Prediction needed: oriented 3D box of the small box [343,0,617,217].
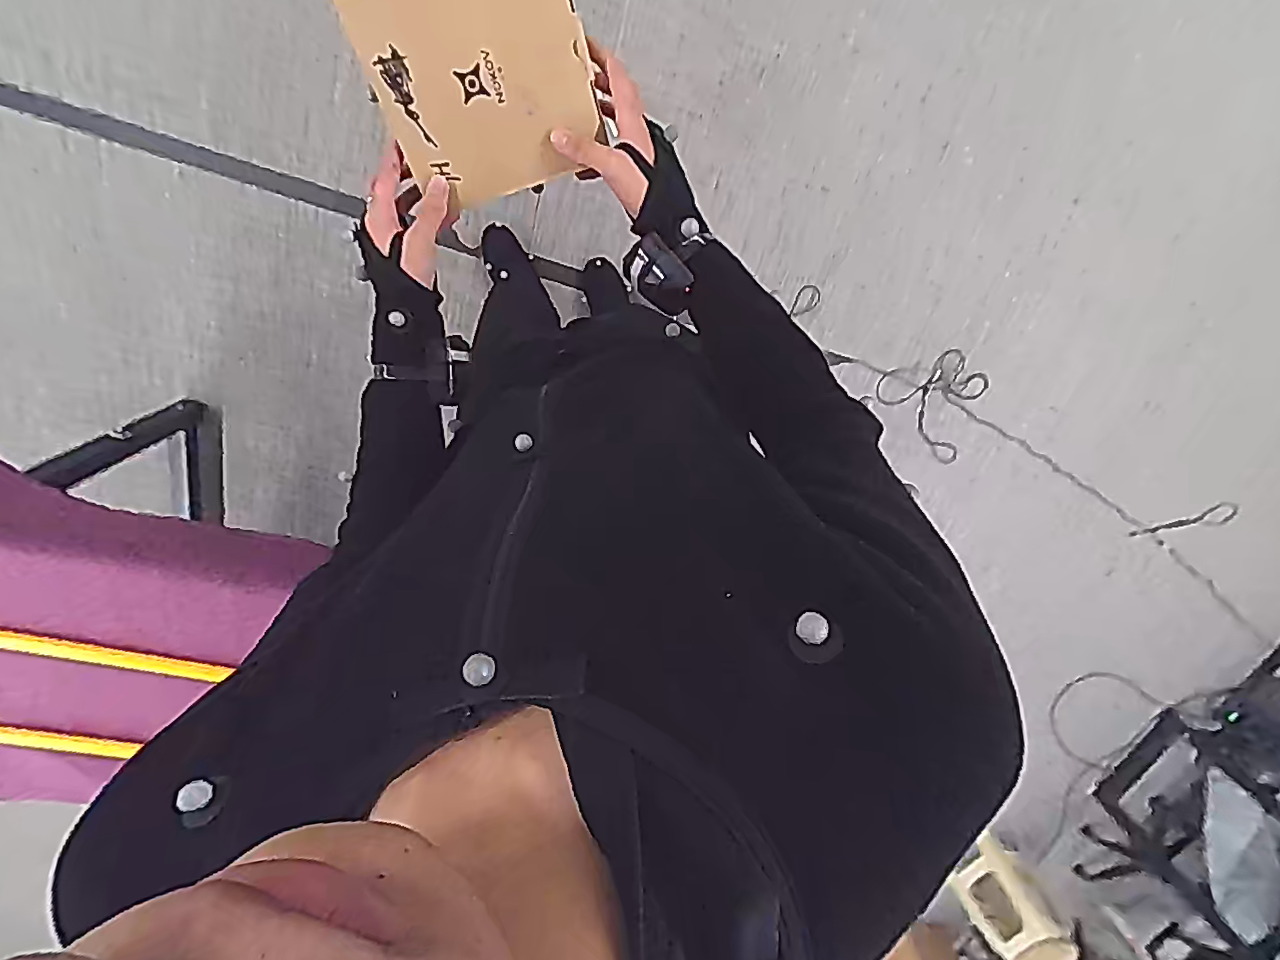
[{"bbox_3d":[-0.130,-0.368,0.504,0.179,0.176,0.168,-14,125,4],"label":"small box"}]
